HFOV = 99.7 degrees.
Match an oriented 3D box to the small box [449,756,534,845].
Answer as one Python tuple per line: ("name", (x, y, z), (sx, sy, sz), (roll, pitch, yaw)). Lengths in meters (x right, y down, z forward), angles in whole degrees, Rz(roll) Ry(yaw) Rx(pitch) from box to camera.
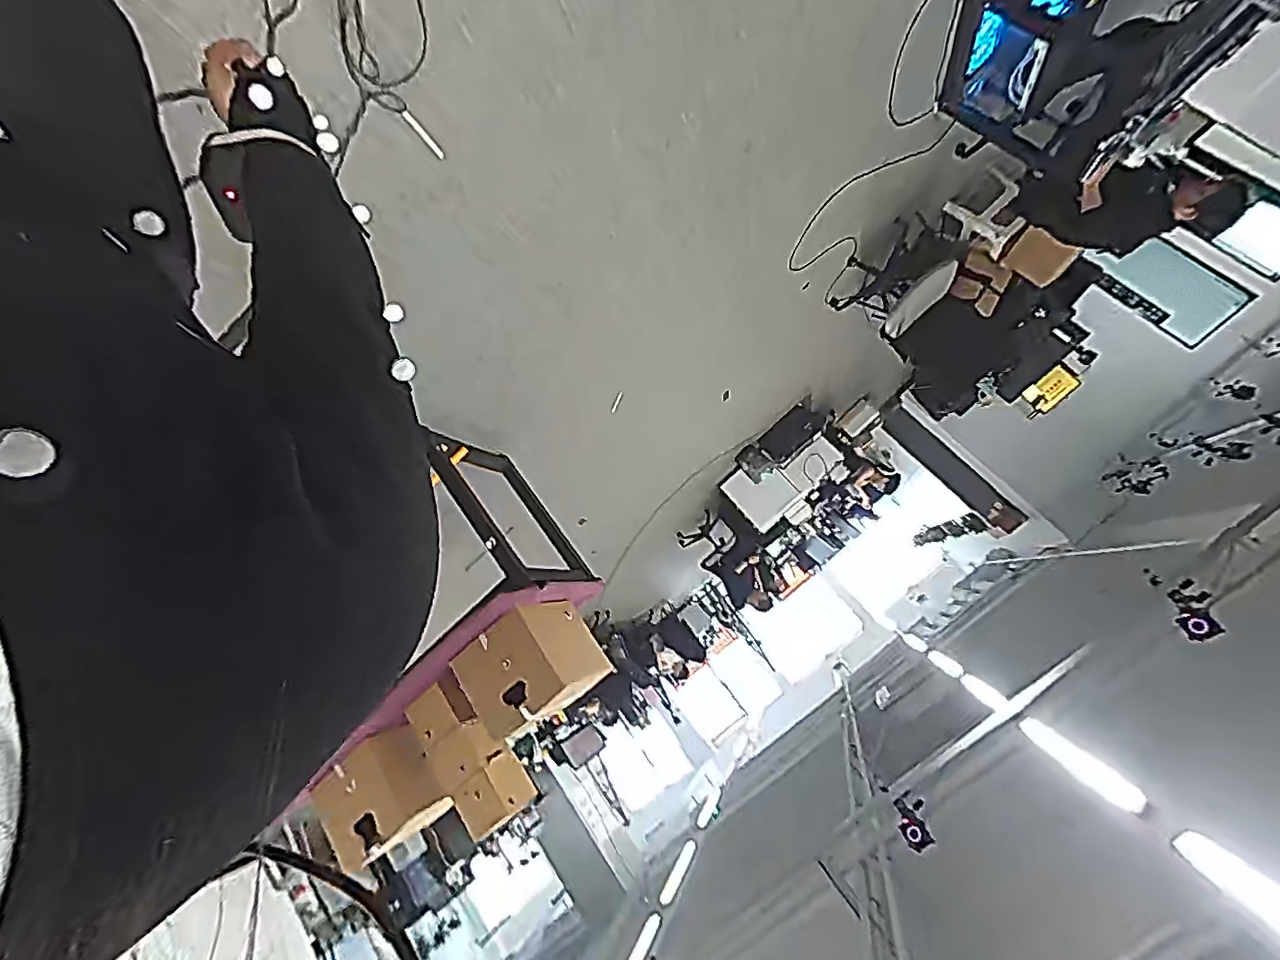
("small box", (-0.496, 1.061, 1.808), (0.168, 0.176, 0.179), (-43, 160, 11))

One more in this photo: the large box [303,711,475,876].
("large box", (-0.895, 1.104, 1.960), (0.320, 0.320, 0.408), (-42, 162, 7))
